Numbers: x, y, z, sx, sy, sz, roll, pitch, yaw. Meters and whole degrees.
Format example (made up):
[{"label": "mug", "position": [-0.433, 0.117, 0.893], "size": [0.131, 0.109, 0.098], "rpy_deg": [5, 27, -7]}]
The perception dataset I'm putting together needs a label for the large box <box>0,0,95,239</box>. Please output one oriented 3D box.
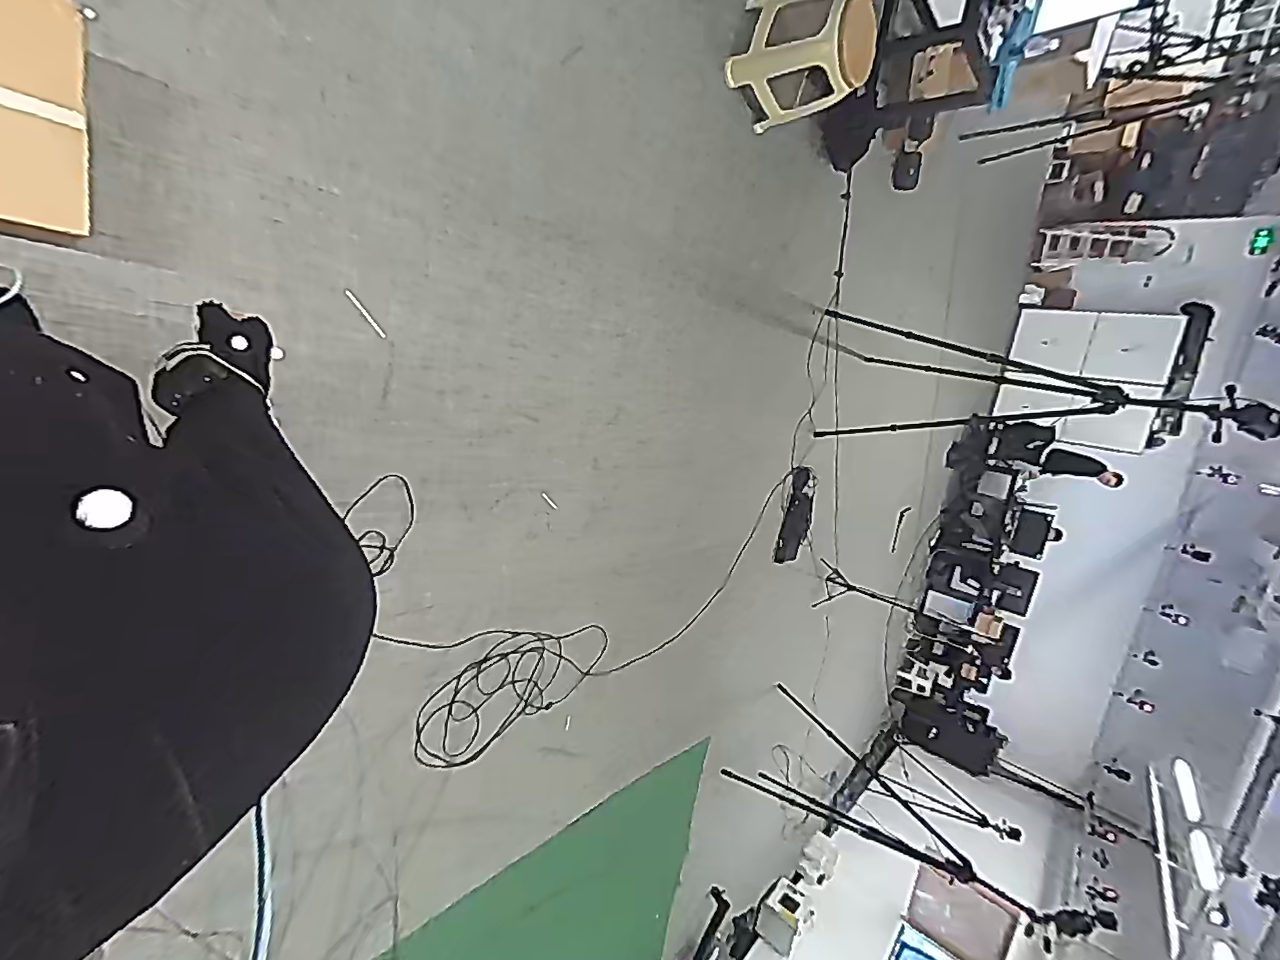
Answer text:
[{"label": "large box", "position": [-1.043, -0.548, 0.730], "size": [0.408, 0.320, 0.320], "rpy_deg": [-3, 106, -49]}]
